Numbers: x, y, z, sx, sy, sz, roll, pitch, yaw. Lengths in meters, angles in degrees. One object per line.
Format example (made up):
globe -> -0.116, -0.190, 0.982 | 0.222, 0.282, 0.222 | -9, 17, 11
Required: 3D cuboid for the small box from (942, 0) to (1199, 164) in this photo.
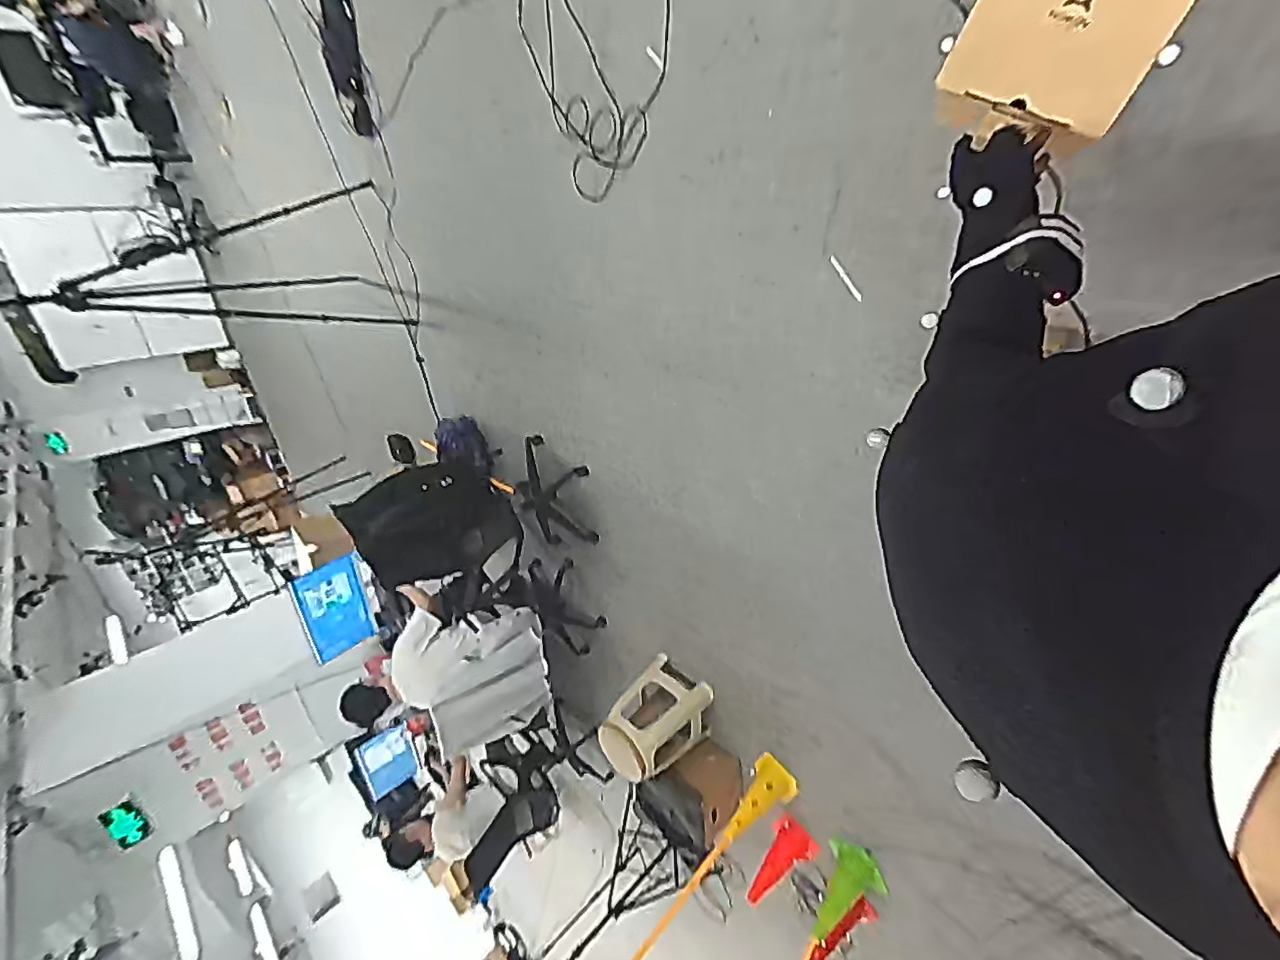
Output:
small box -> 0.437, -0.458, 0.561 | 0.168, 0.176, 0.179 | 30, 121, 14
